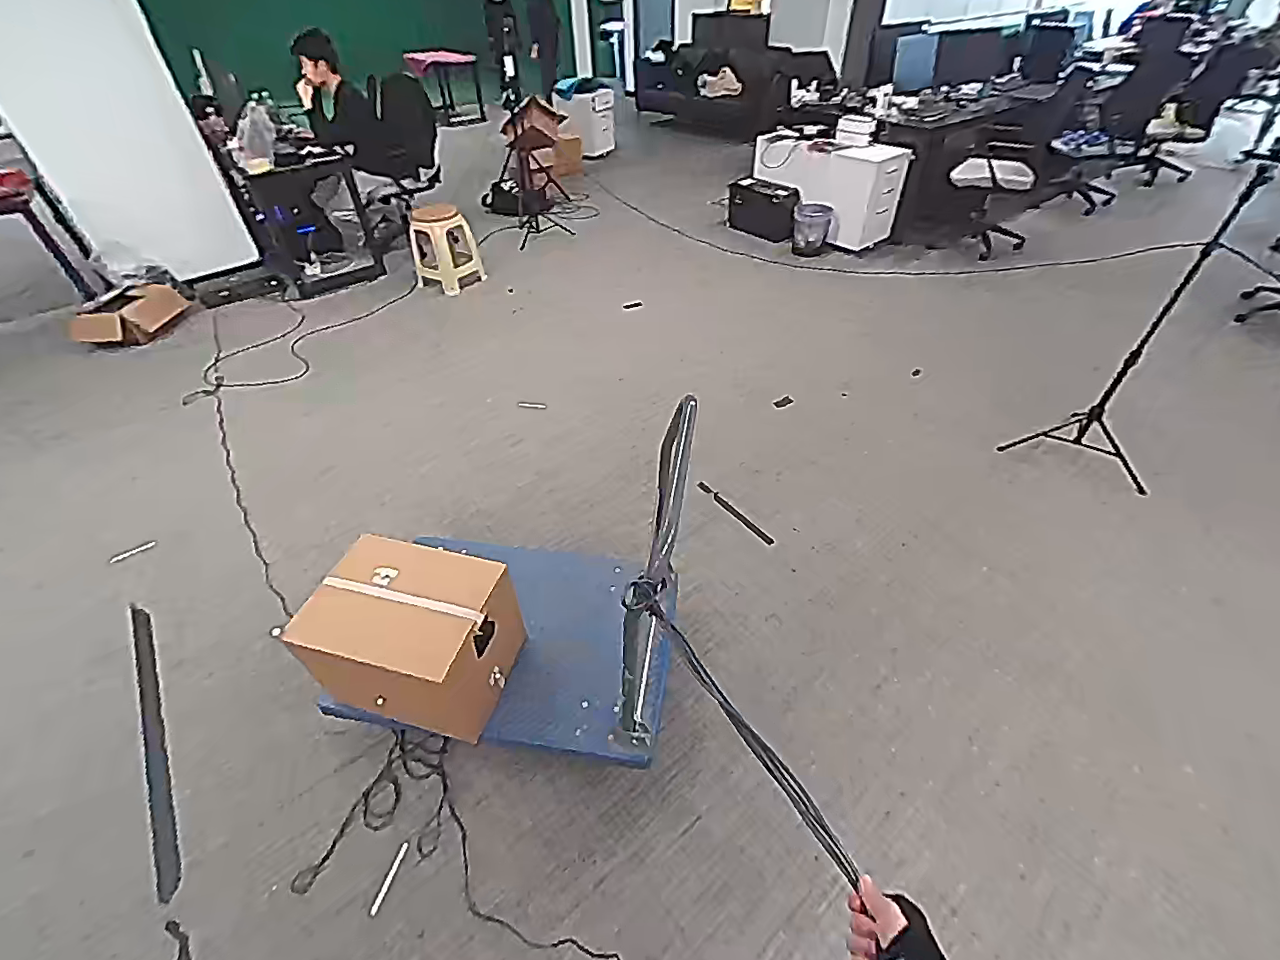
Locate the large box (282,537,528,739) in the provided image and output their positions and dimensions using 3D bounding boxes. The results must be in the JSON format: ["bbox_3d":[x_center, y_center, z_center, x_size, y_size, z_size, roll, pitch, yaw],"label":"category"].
[{"bbox_3d":[-0.536,0.382,1.325,0.408,0.320,0.320,9,43,12],"label":"large box"}]
